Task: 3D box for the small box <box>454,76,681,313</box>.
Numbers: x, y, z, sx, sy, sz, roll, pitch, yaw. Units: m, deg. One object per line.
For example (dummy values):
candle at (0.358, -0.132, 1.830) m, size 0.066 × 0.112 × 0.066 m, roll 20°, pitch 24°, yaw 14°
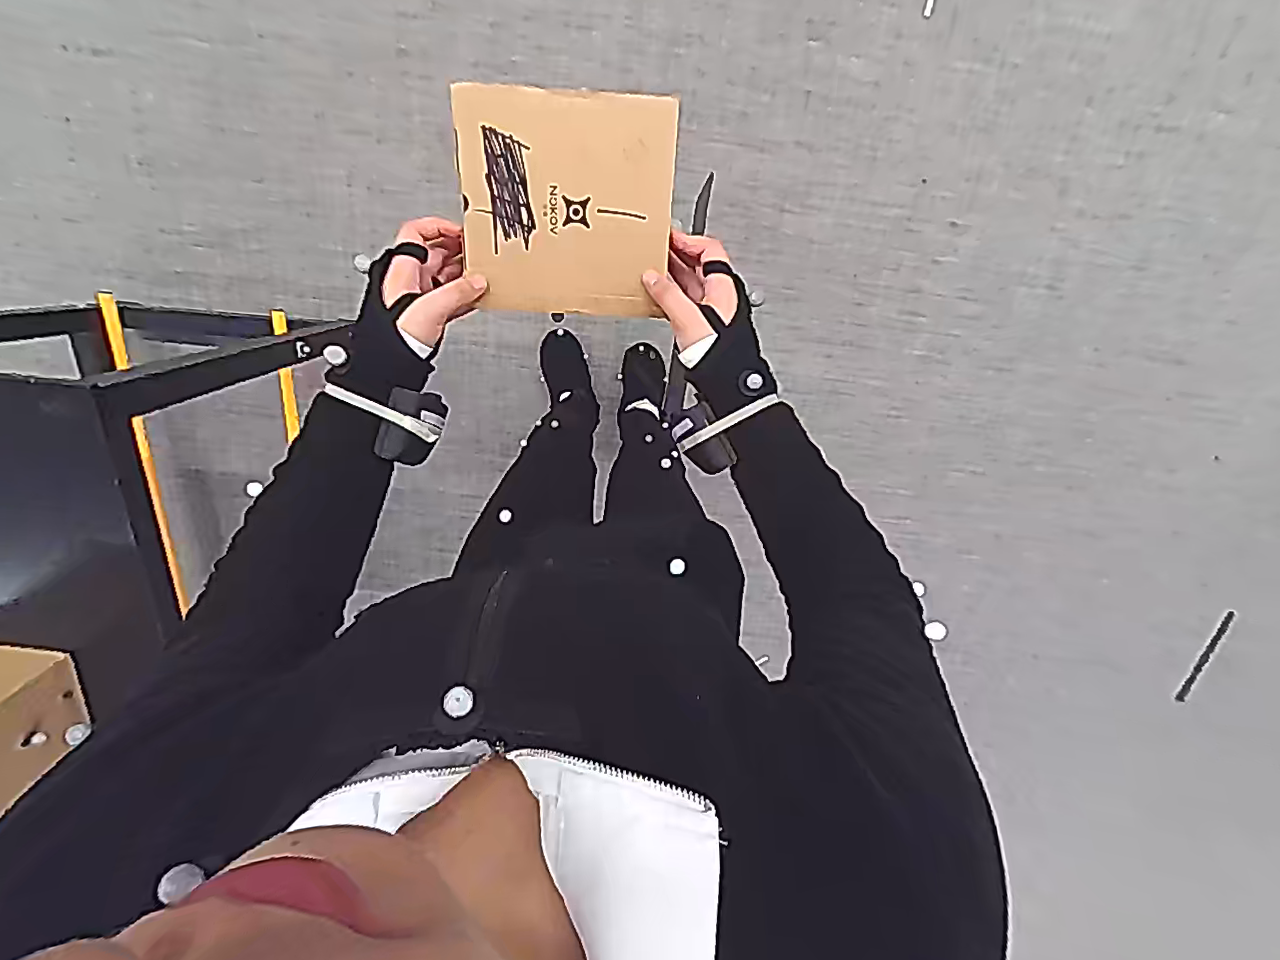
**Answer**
small box at (-0.060, -0.259, 0.516) m, size 0.179 × 0.176 × 0.168 m, roll 3°, pitch 115°, yaw -2°
